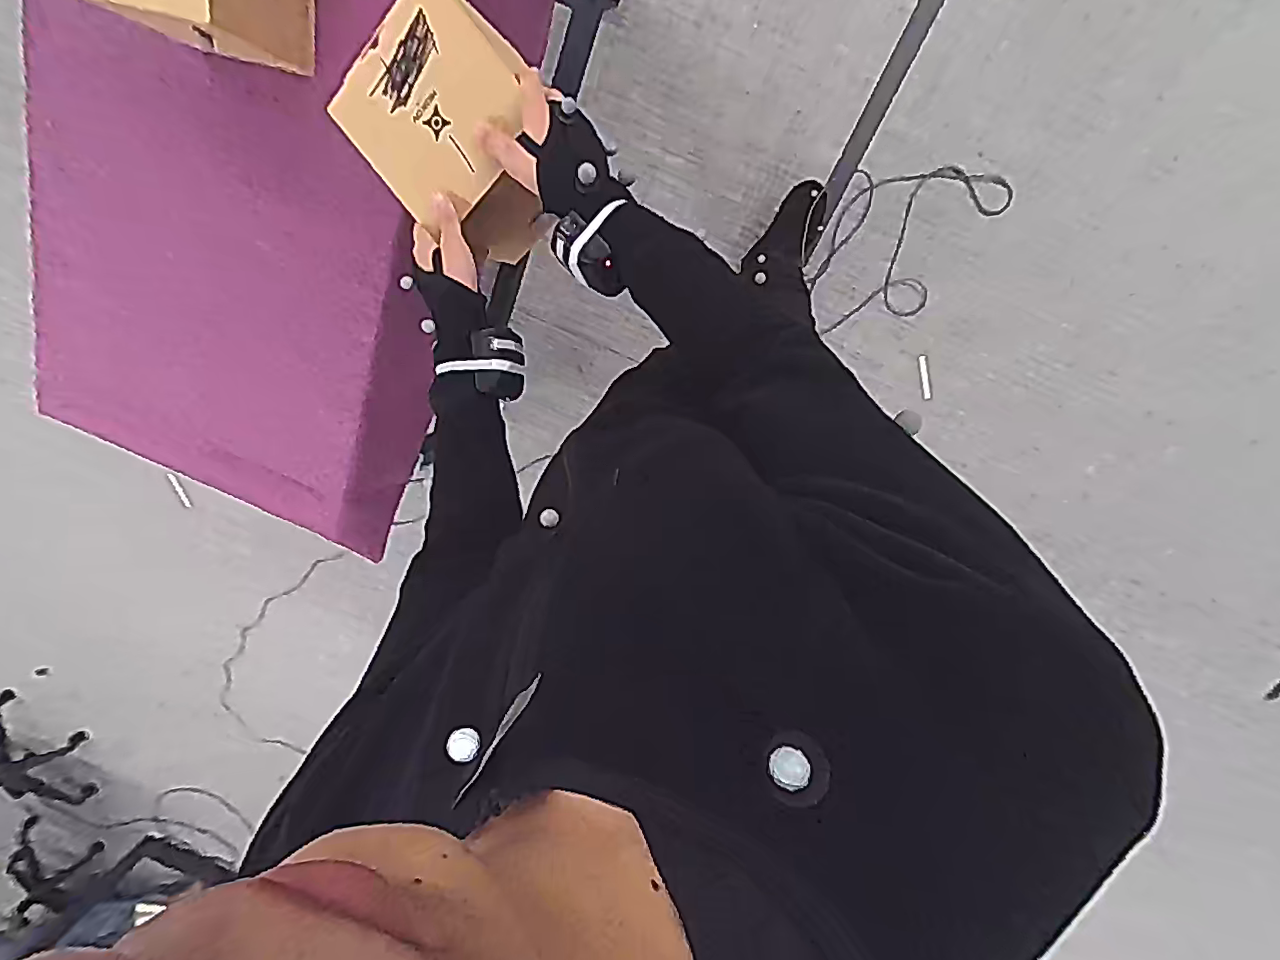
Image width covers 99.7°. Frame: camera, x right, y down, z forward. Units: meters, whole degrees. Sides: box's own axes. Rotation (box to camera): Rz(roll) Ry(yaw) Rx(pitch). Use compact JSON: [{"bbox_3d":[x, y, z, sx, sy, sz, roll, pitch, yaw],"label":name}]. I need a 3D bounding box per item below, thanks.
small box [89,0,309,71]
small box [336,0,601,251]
[{"bbox_3d":[-0.522,-0.622,0.643,0.179,0.176,0.168,15,112,3],"label":"small box"},{"bbox_3d":[-0.173,-0.378,0.591,0.168,0.176,0.179,-37,94,22],"label":"small box"}]
